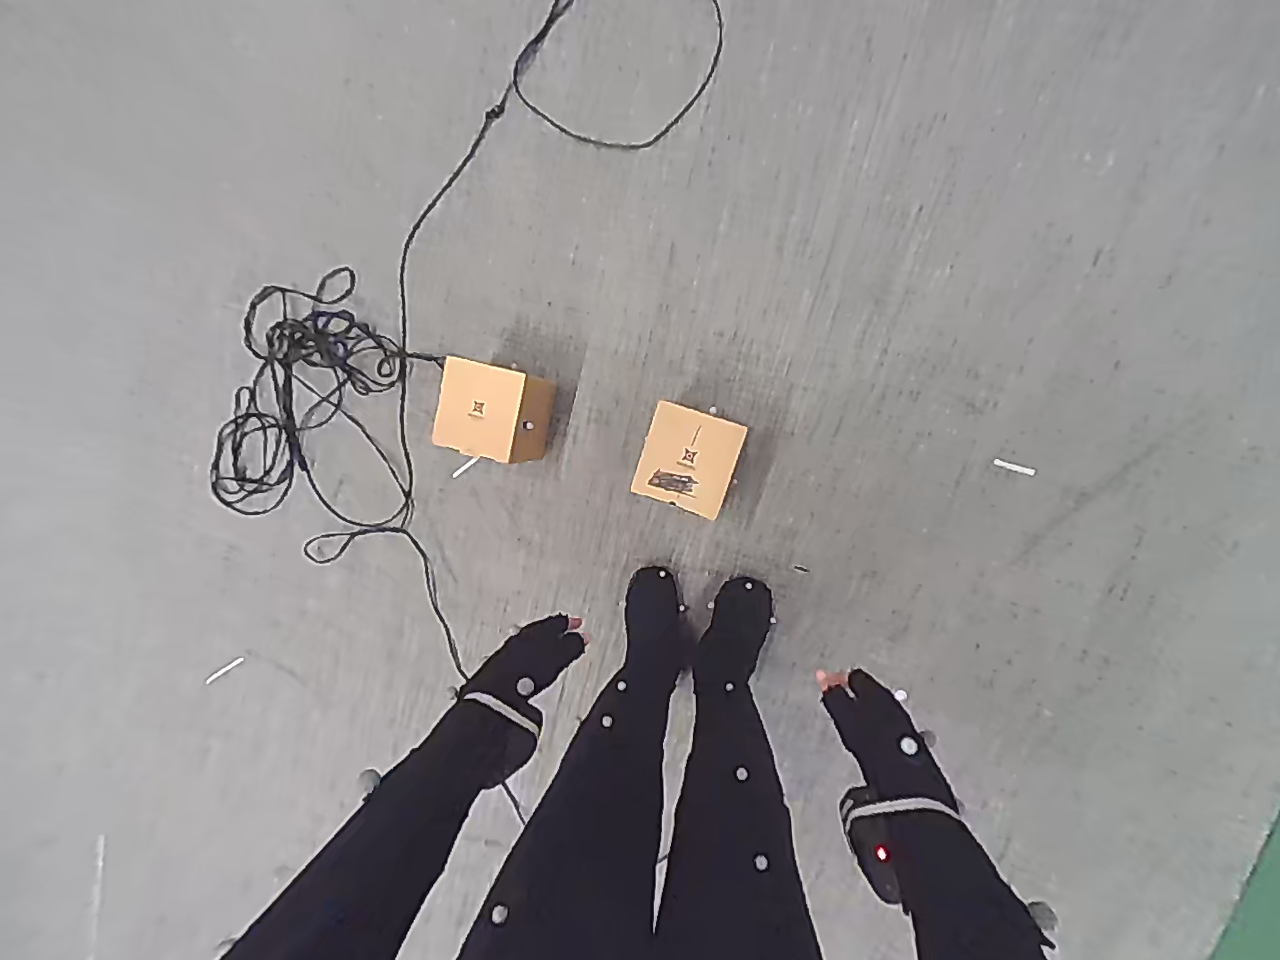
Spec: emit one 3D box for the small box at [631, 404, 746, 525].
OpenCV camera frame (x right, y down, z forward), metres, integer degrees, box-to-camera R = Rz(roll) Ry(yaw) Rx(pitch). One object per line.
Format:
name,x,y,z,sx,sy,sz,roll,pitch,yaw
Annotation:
small box,0.100,-0.035,1.029,0.168,0.176,0.179,19,99,9

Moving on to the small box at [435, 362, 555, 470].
small box,-0.286,-0.129,1.100,0.168,0.176,0.179,14,99,10
